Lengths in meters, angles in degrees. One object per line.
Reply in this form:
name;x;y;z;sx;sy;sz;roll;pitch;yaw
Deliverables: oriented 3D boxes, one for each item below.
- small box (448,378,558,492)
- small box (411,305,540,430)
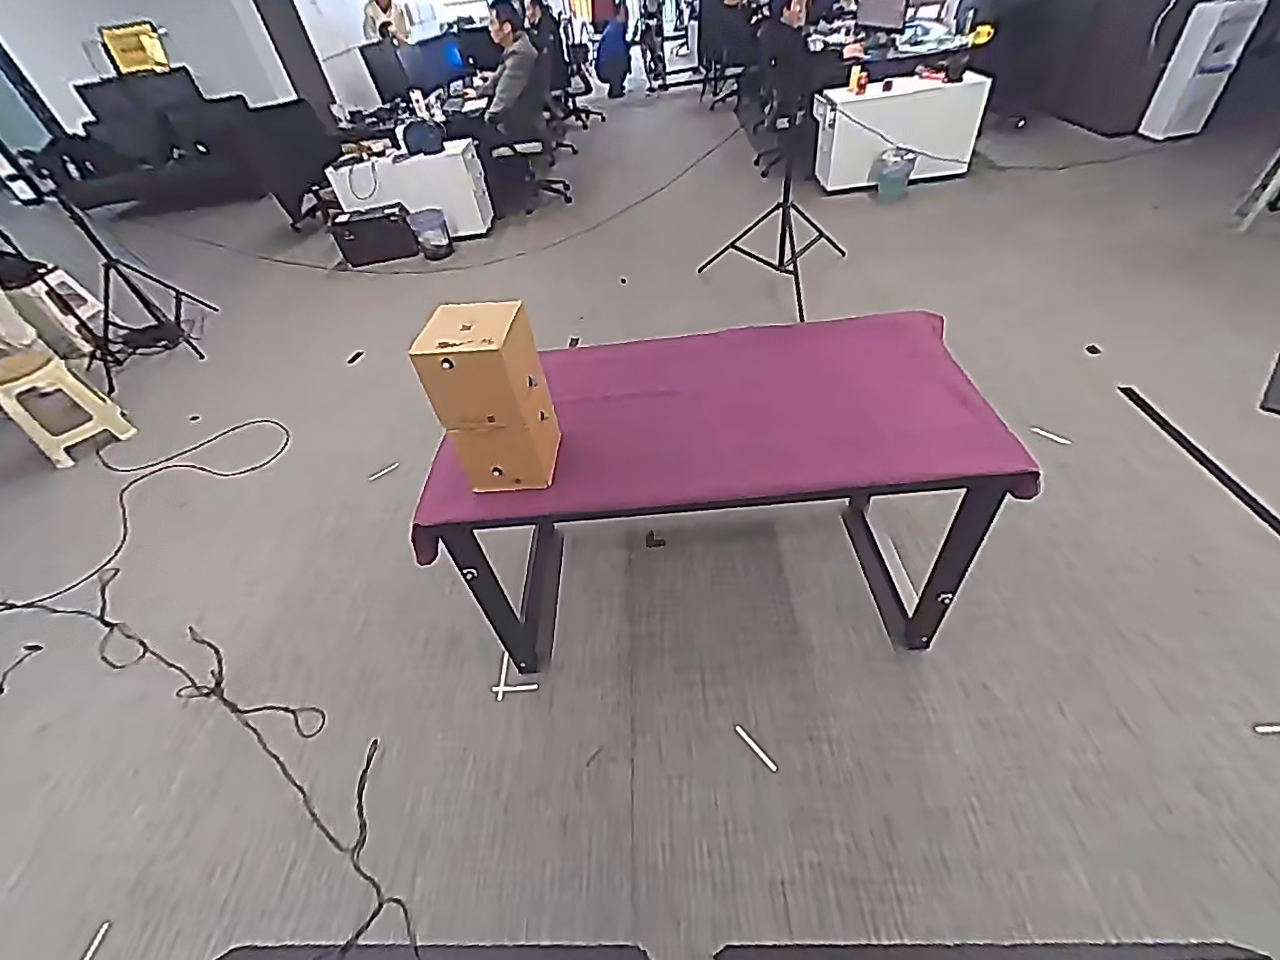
small box;-0.275;-0.094;1.135;0.168;0.176;0.179;-3;44;6
small box;-0.296;-0.212;1.023;0.168;0.176;0.179;-2;44;7
